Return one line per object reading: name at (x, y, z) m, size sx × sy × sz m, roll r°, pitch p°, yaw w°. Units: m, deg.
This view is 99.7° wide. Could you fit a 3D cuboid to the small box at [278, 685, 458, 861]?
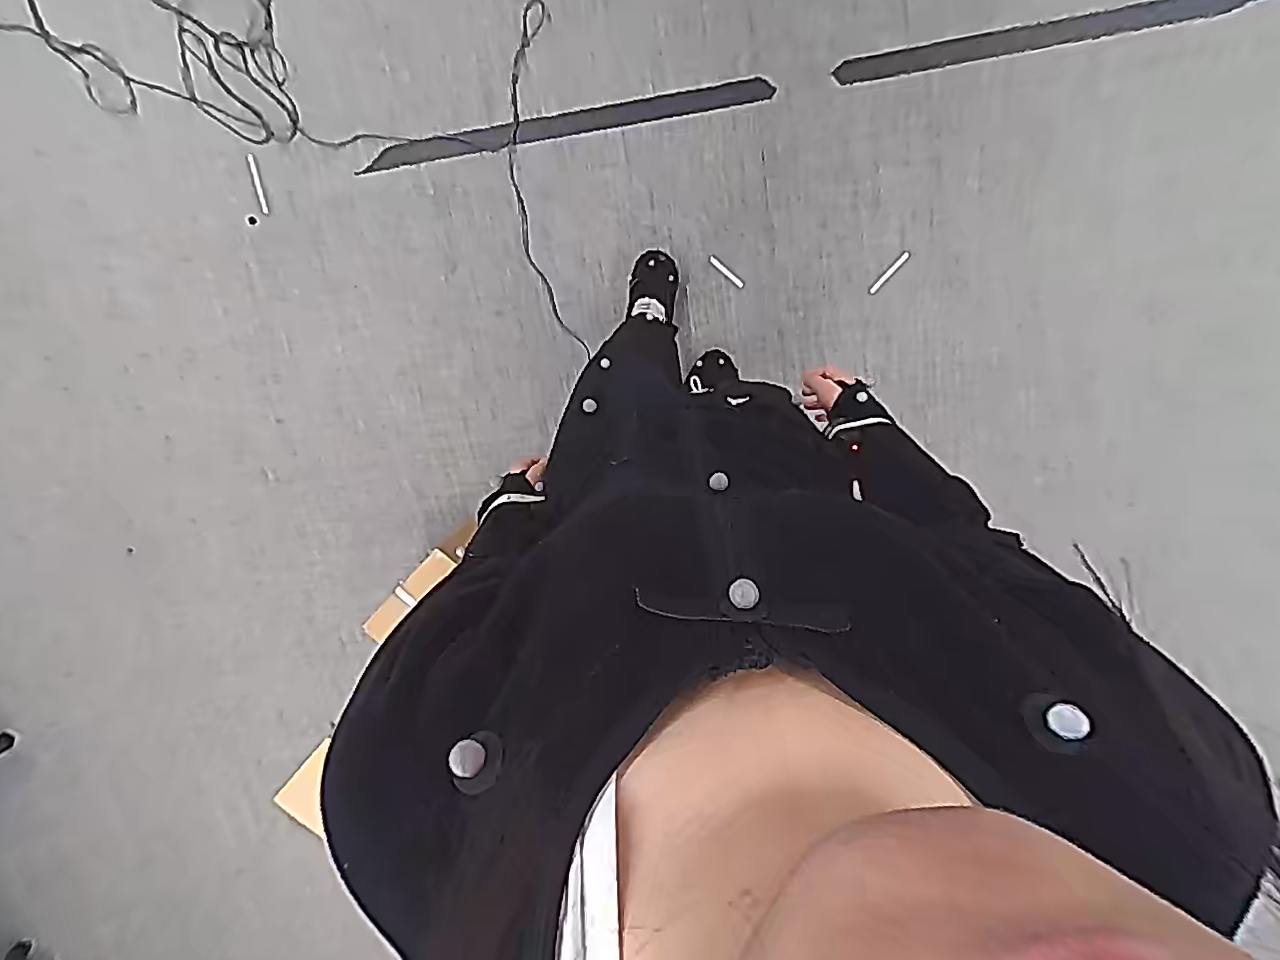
small box at (-0.452, 0.483, 0.924) m, size 0.179 × 0.176 × 0.168 m, roll 41°, pitch 104°, yaw -5°
